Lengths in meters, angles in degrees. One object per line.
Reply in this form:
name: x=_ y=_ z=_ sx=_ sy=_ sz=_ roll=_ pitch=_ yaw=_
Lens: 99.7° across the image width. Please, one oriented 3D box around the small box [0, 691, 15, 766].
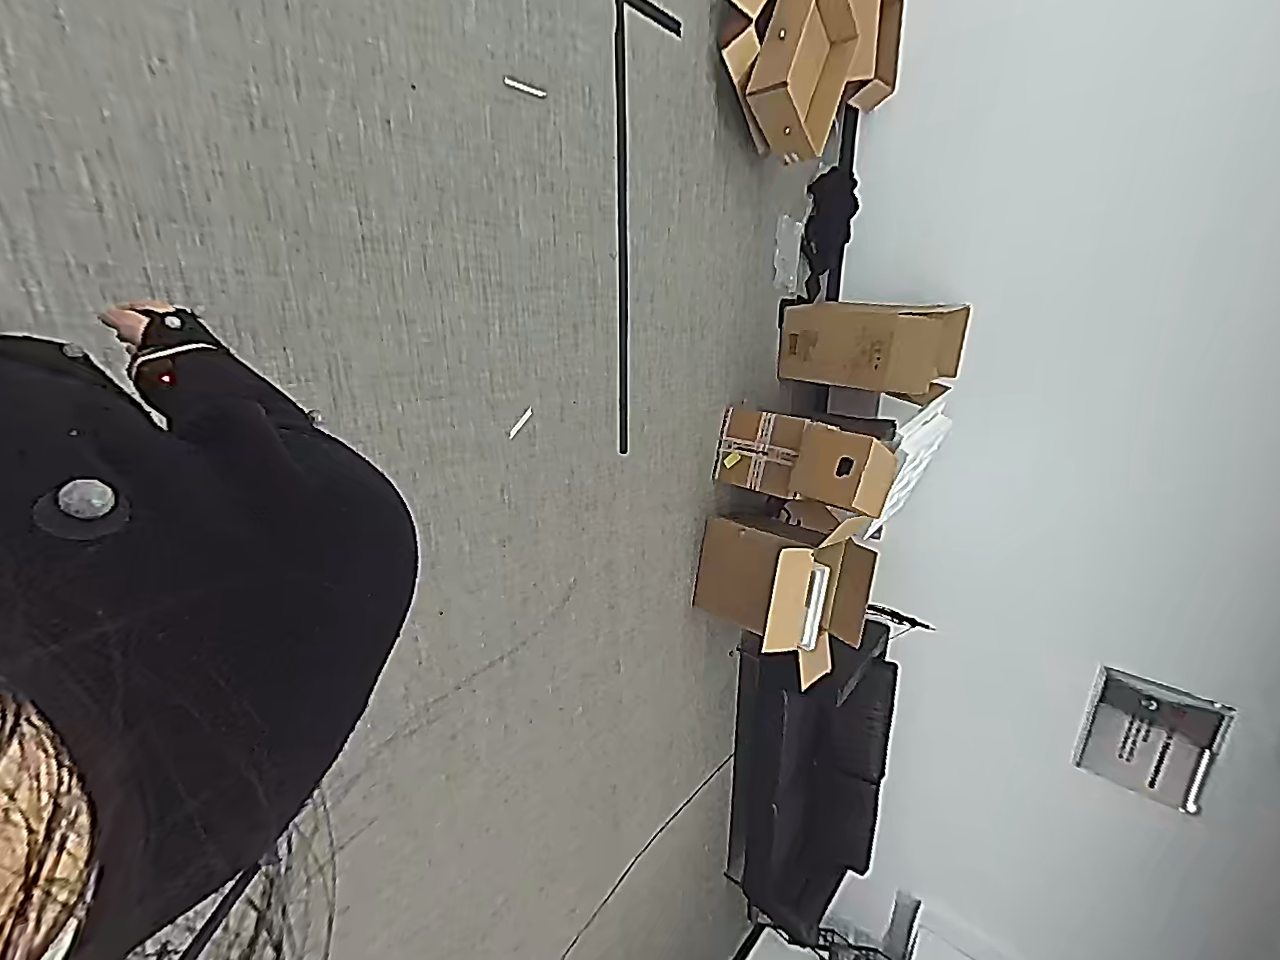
small box: x=-1.247 y=0.430 z=0.943 sx=0.168 sy=0.176 sz=0.179 roll=-22 pitch=118 yaw=-44
